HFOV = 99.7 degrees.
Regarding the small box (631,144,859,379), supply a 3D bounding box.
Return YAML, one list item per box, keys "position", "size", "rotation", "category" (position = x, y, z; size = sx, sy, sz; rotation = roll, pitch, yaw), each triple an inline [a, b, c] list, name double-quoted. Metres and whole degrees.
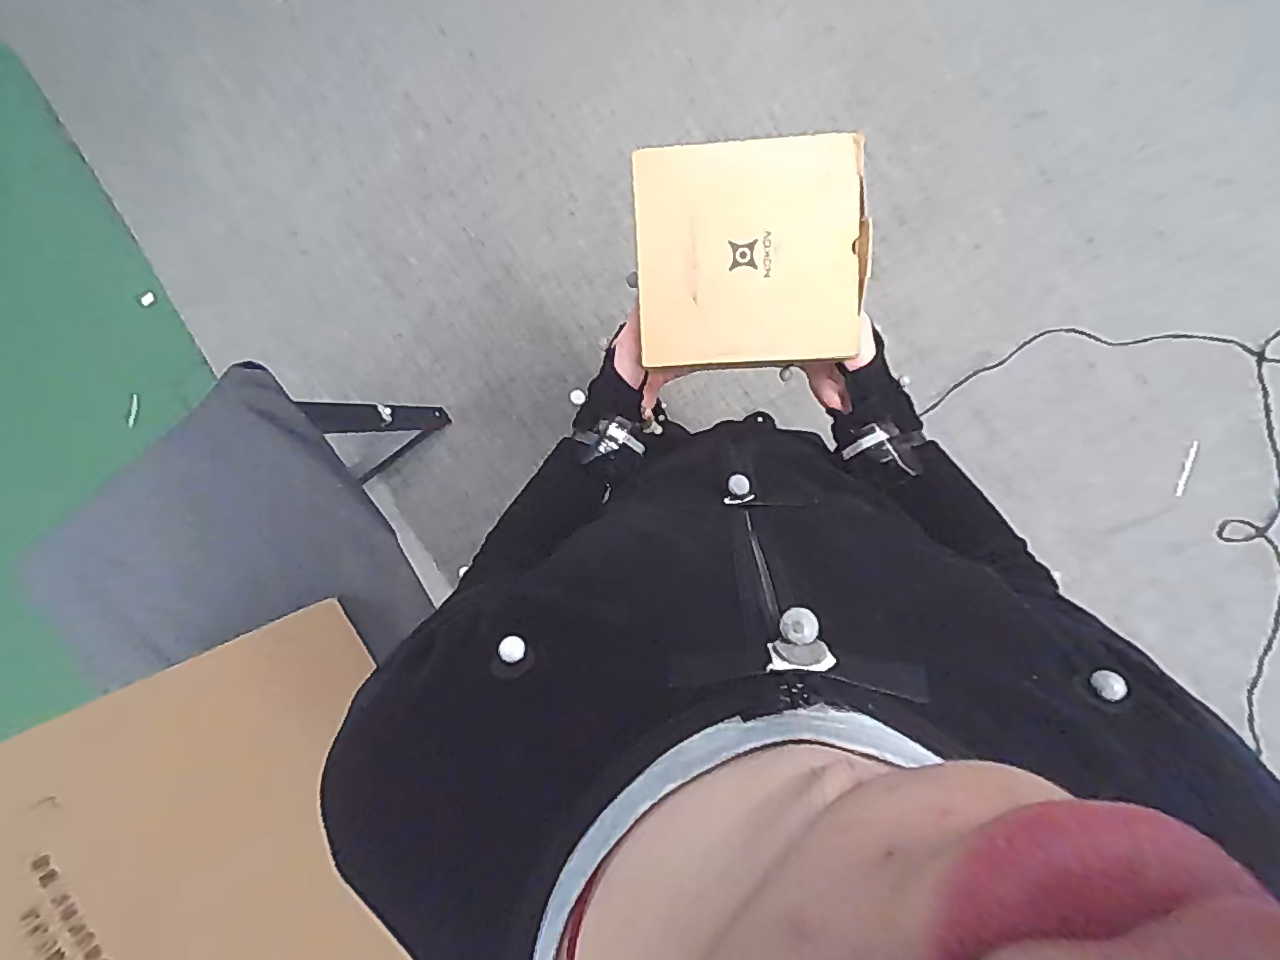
- position: [0.088, -0.183, 0.504]
  size: [0.179, 0.176, 0.168]
  rotation: [-3, 98, 5]
  category: "small box"
